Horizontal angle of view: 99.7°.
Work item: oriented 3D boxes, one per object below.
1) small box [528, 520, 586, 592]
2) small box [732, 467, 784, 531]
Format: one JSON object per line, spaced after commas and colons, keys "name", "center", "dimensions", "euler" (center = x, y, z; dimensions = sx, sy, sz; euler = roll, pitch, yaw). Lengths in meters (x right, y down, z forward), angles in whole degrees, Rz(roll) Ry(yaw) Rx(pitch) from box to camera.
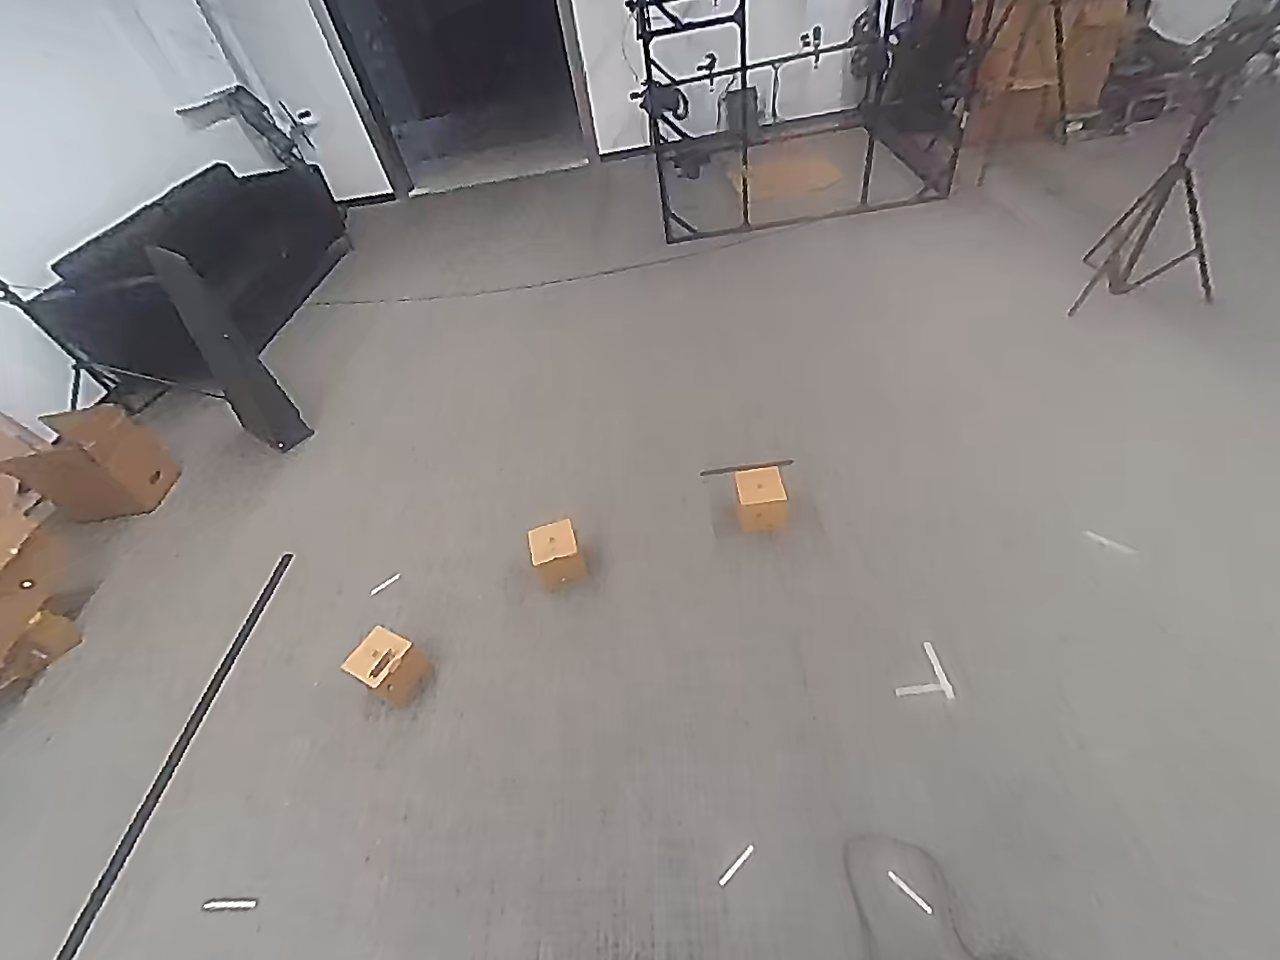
{"name": "small box", "center": [-0.308, 0.285, 2.019], "dimensions": [0.168, 0.176, 0.179], "euler": [-17, 45, -4]}
{"name": "small box", "center": [0.450, 0.079, 2.053], "dimensions": [0.168, 0.176, 0.179], "euler": [-9, 44, 5]}
